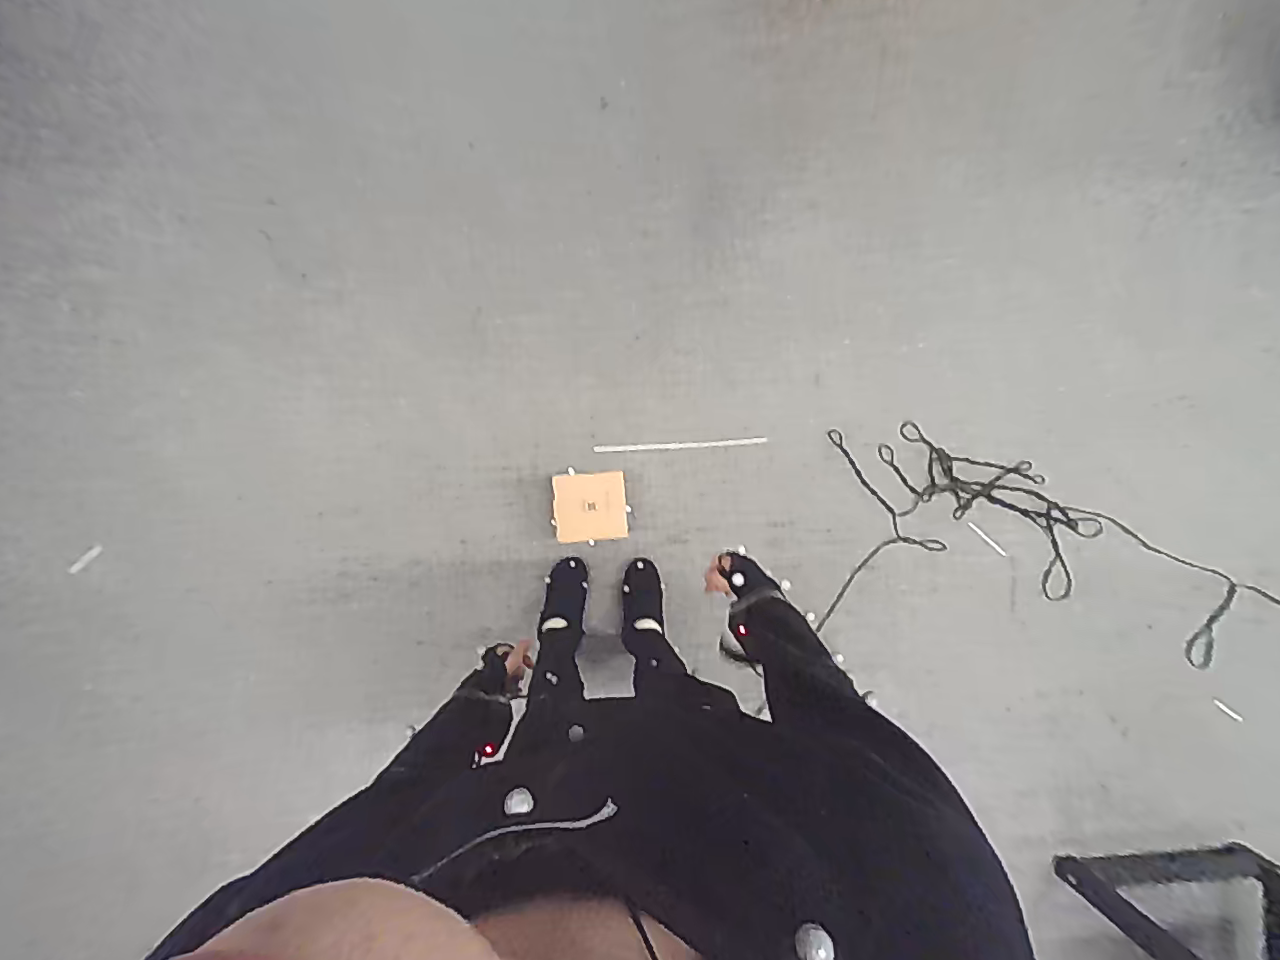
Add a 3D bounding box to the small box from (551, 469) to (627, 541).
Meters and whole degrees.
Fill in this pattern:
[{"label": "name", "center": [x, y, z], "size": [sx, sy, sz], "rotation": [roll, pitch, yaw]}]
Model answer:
[{"label": "small box", "center": [-0.126, 0.062, 1.376], "size": [0.179, 0.176, 0.168], "rotation": [-4, 90, -4]}]
